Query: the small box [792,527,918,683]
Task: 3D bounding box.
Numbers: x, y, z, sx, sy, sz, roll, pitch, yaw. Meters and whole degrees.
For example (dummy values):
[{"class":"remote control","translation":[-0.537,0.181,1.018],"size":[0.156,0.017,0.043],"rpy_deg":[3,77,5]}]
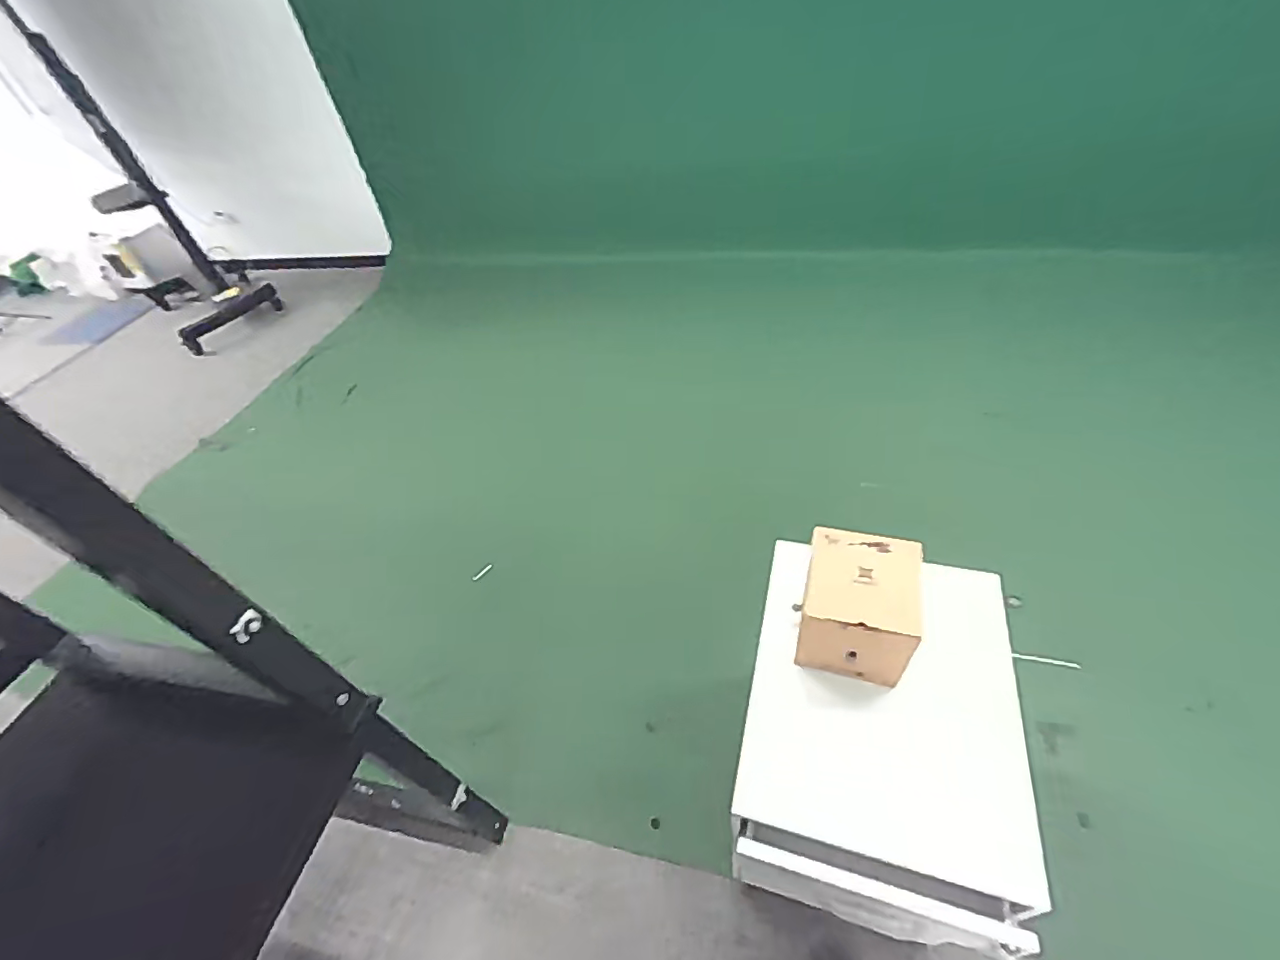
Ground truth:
[{"class":"small box","translation":[0.345,0.205,0.882],"size":[0.168,0.176,0.179],"rpy_deg":[9,49,17]}]
